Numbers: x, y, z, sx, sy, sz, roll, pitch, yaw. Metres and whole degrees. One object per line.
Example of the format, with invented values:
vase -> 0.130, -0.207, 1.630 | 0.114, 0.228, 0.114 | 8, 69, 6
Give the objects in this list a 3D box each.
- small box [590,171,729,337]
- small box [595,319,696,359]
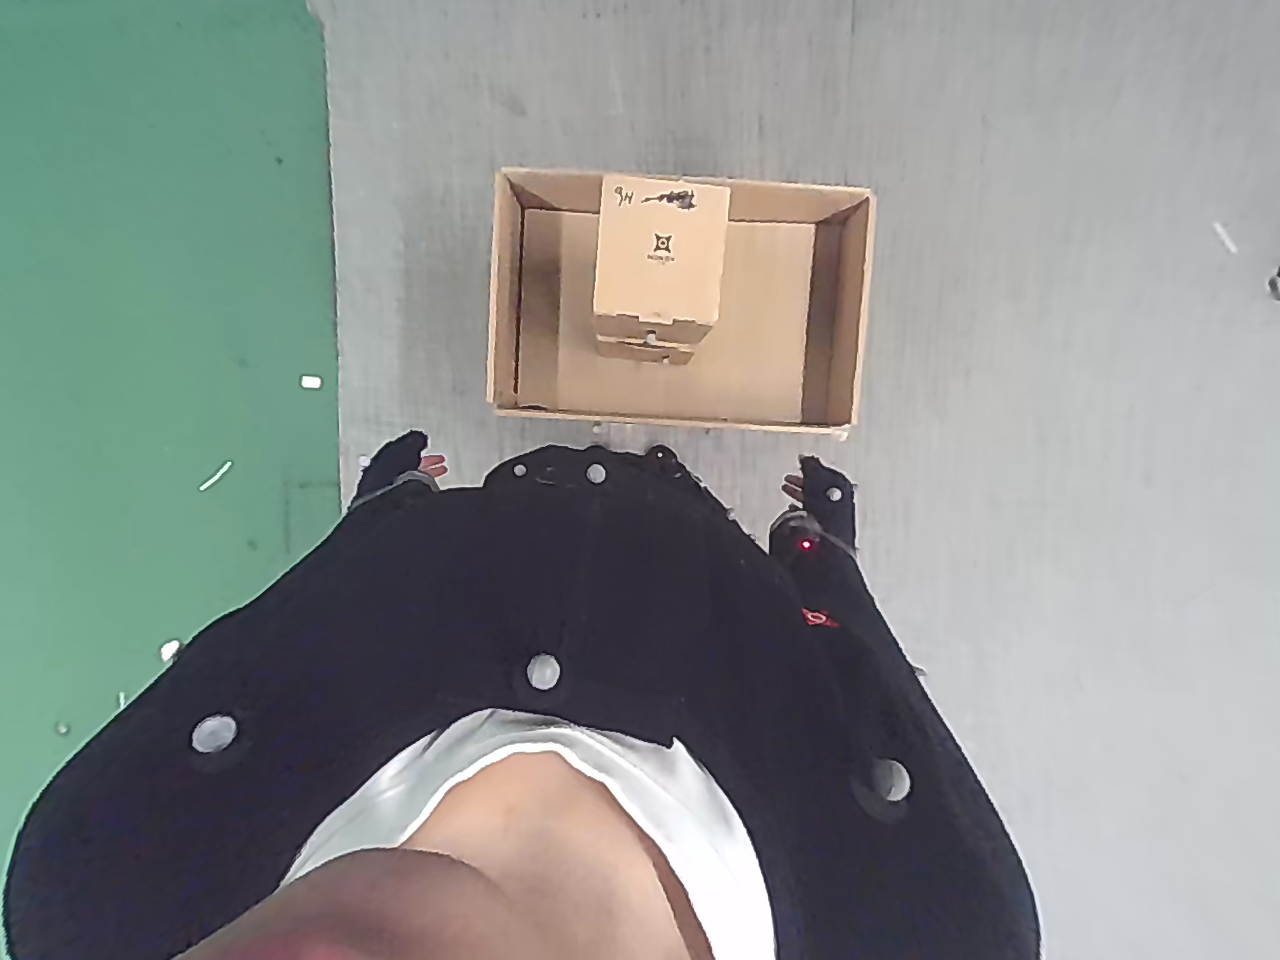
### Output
small box -> 0.022, -0.307, 0.772 | 0.168, 0.176, 0.179 | 5, 96, -3
small box -> 0.015, -0.312, 0.936 | 0.168, 0.176, 0.179 | 5, 93, -3
